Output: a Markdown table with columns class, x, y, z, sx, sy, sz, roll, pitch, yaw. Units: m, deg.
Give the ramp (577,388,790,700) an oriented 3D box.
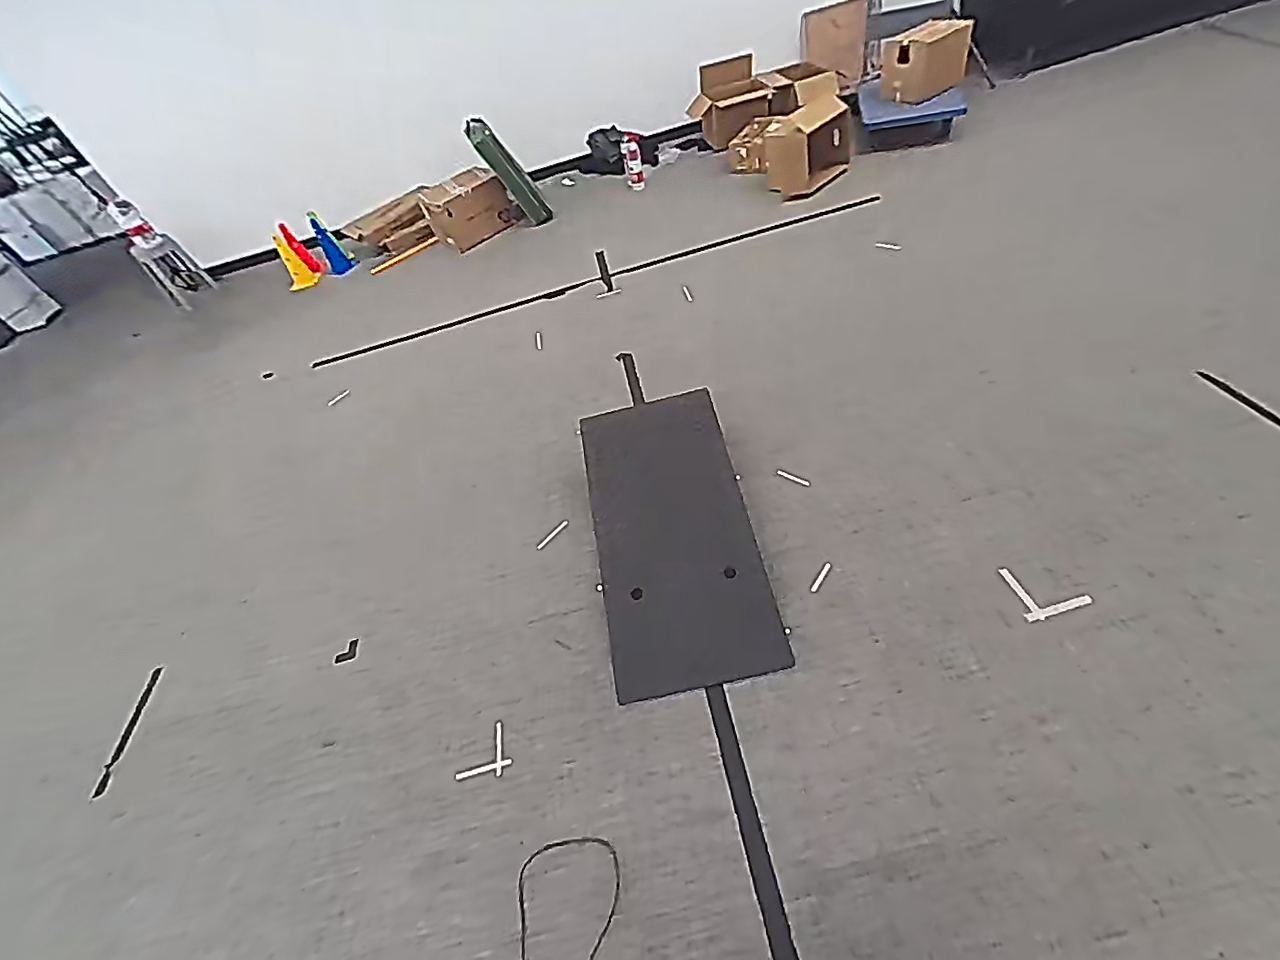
| class | x | y | z | sx | sy | sz | roll | pitch | yaw |
| --- | --- | --- | --- | --- | --- | --- | --- | --- | --- |
| ramp | 0.090 | 0.136 | 1.726 | 0.509 | 0.206 | 0.991 | -15 | 48 | 1 |
